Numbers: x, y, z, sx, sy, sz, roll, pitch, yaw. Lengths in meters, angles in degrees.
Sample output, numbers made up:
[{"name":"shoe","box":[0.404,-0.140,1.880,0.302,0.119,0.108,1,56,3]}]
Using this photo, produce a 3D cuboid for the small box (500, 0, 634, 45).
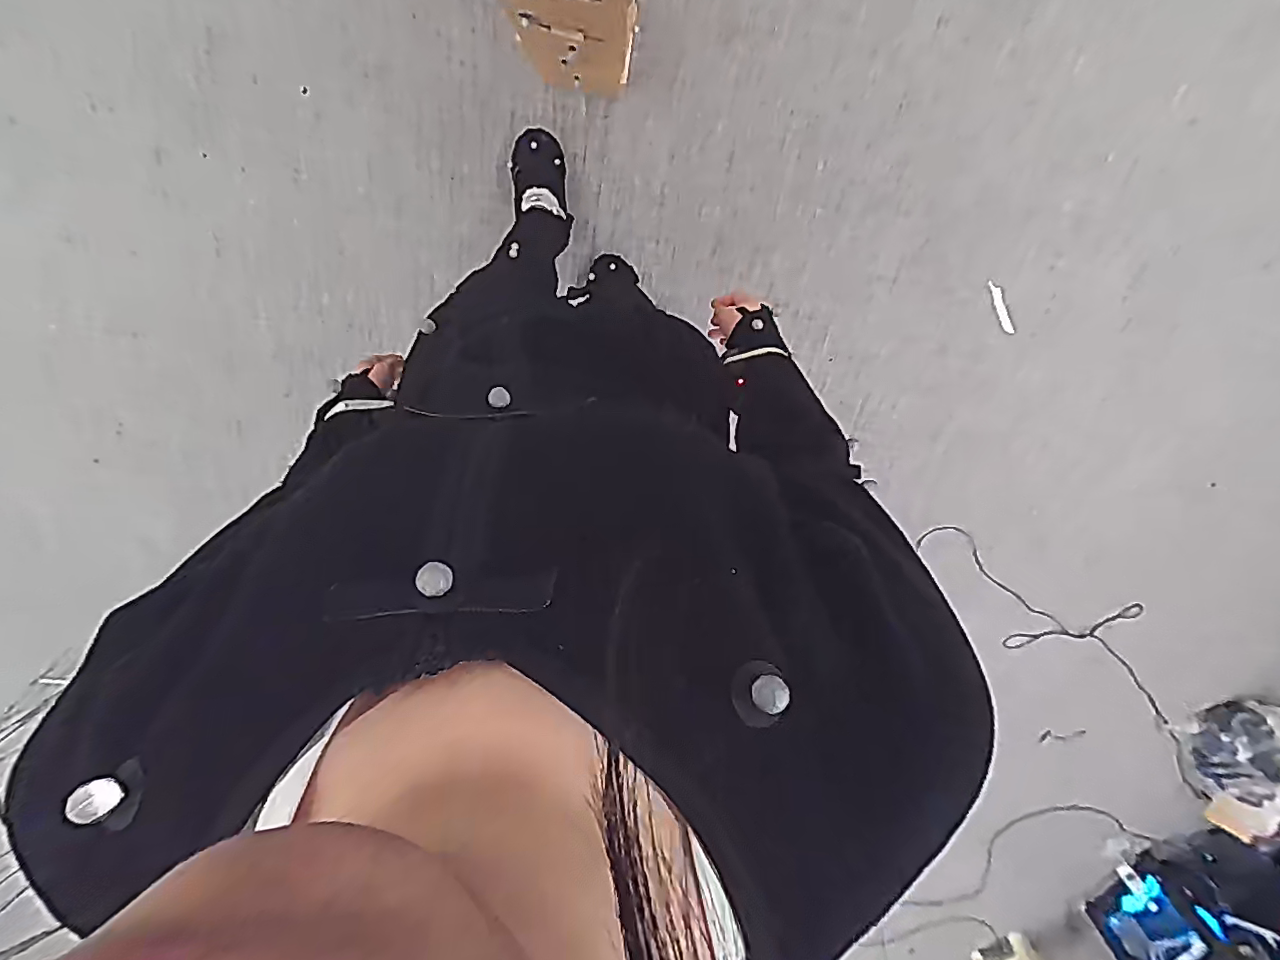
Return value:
[{"name":"small box","box":[-0.077,-0.631,0.612,0.168,0.176,0.179,9,116,-8]}]

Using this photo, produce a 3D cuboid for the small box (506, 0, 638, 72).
[{"name":"small box","box":[-0.083,-0.705,0.758,0.168,0.176,0.179,9,118,-8]}]

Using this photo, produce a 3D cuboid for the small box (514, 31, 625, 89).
[{"name":"small box","box":[-0.102,-0.781,0.902,0.179,0.176,0.168,10,118,-8]}]

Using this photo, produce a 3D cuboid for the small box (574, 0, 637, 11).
[{"name":"small box","box":[-0.066,-0.555,0.469,0.168,0.176,0.179,7,118,-6]}]

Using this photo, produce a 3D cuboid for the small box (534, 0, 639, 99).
[{"name":"small box","box":[-0.103,-0.859,1.047,0.179,0.176,0.168,8,117,-7]}]
